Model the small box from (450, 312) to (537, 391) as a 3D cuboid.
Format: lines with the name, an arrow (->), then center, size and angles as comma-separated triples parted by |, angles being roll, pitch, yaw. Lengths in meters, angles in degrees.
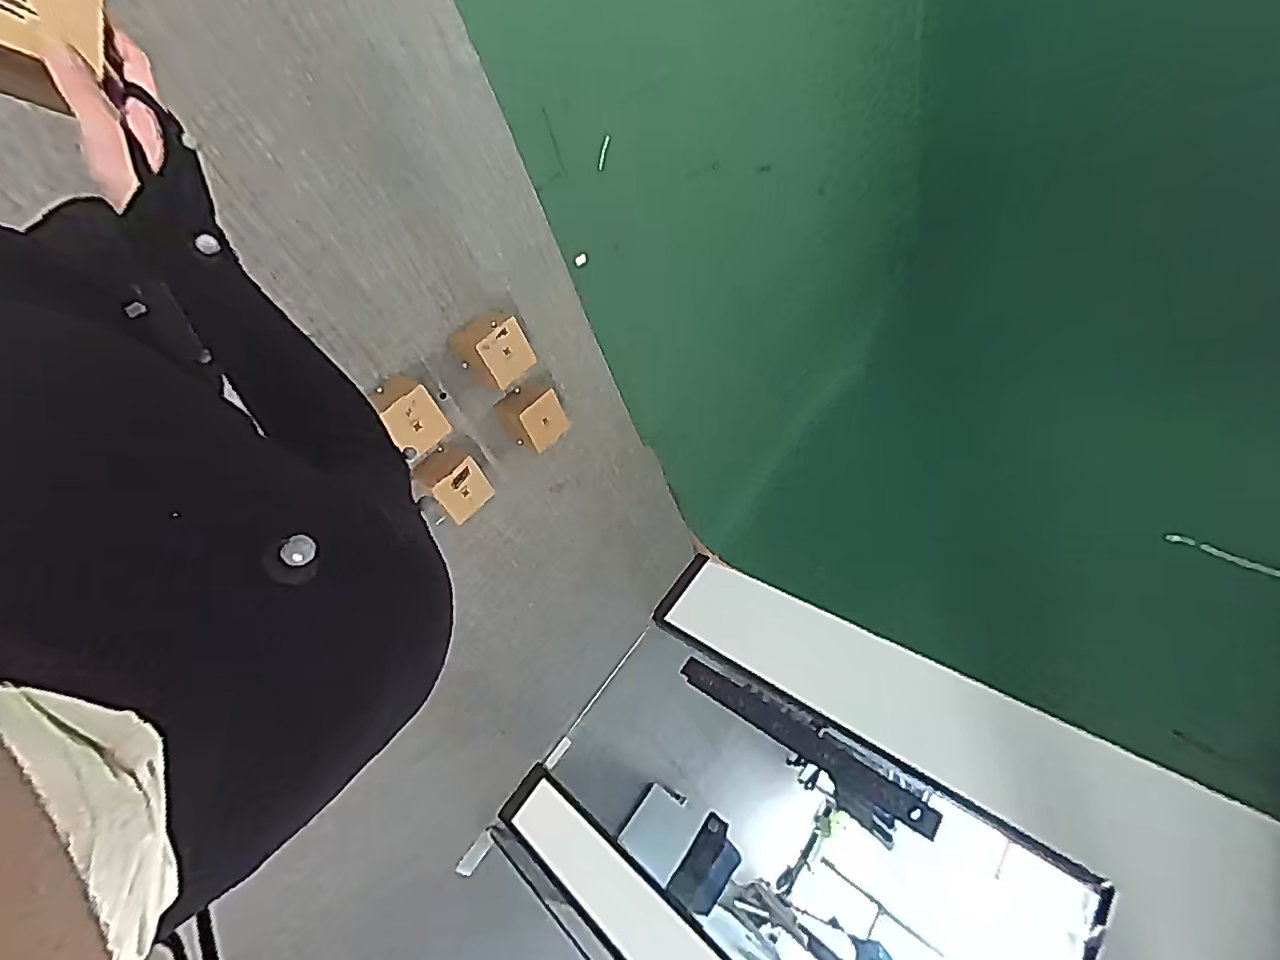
small box -> -0.471, -0.419, 1.743 | 0.168, 0.176, 0.179 | -47, 137, -24

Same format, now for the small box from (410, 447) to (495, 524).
small box -> -0.618, 0.010, 1.777 | 0.168, 0.176, 0.179 | -45, 136, -25

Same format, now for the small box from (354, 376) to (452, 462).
small box -> -0.699, -0.185, 1.596 | 0.168, 0.176, 0.179 | -46, 136, -24
